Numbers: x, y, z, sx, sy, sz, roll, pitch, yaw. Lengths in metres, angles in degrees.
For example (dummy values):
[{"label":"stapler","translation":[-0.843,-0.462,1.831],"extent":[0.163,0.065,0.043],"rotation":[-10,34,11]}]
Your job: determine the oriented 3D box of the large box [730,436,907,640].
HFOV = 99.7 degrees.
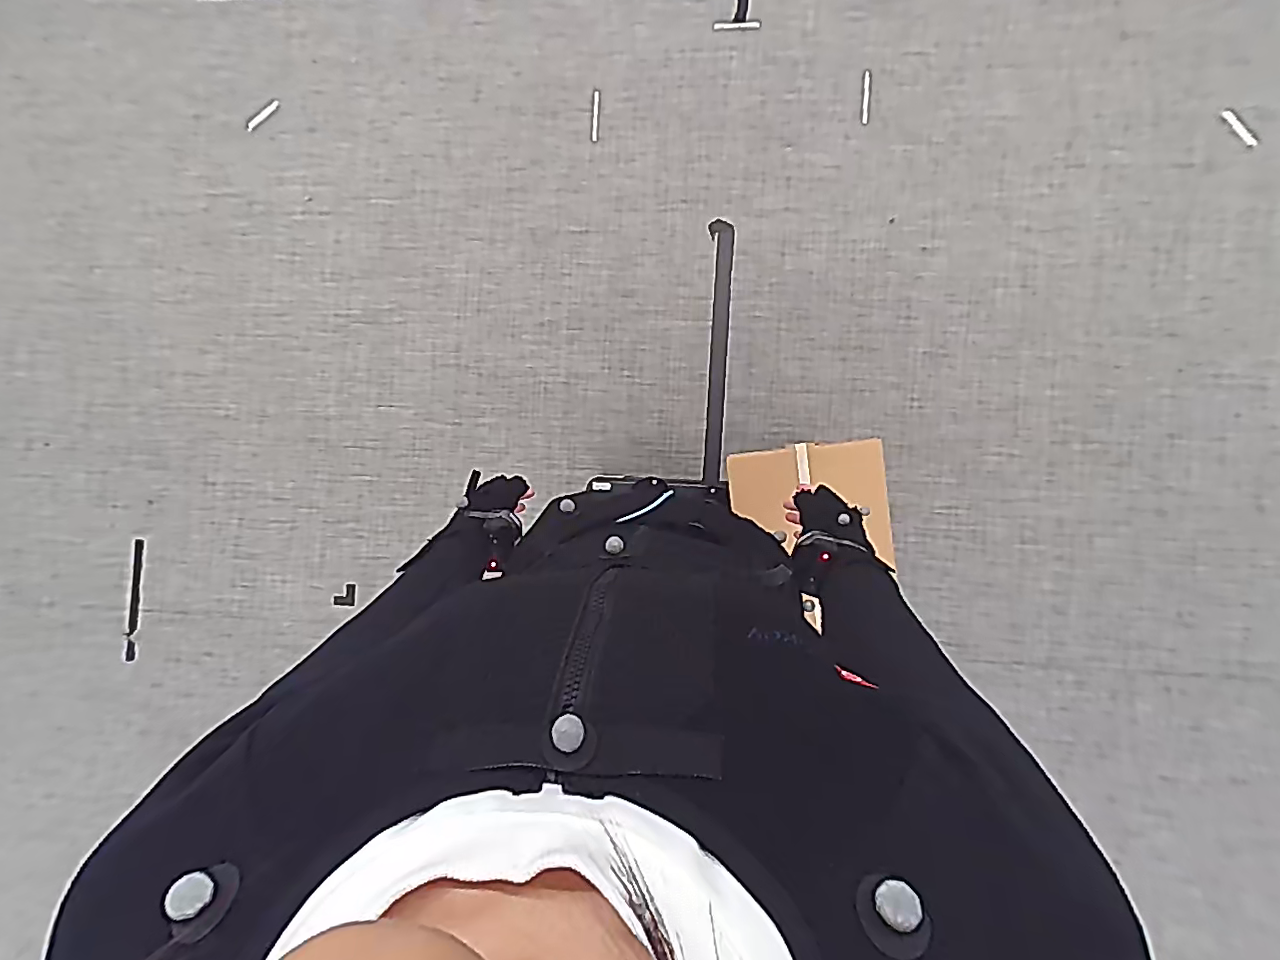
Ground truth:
[{"label":"large box","translation":[0.392,0.121,1.260],"extent":[0.320,0.320,0.408],"rotation":[-6,90,12]}]
